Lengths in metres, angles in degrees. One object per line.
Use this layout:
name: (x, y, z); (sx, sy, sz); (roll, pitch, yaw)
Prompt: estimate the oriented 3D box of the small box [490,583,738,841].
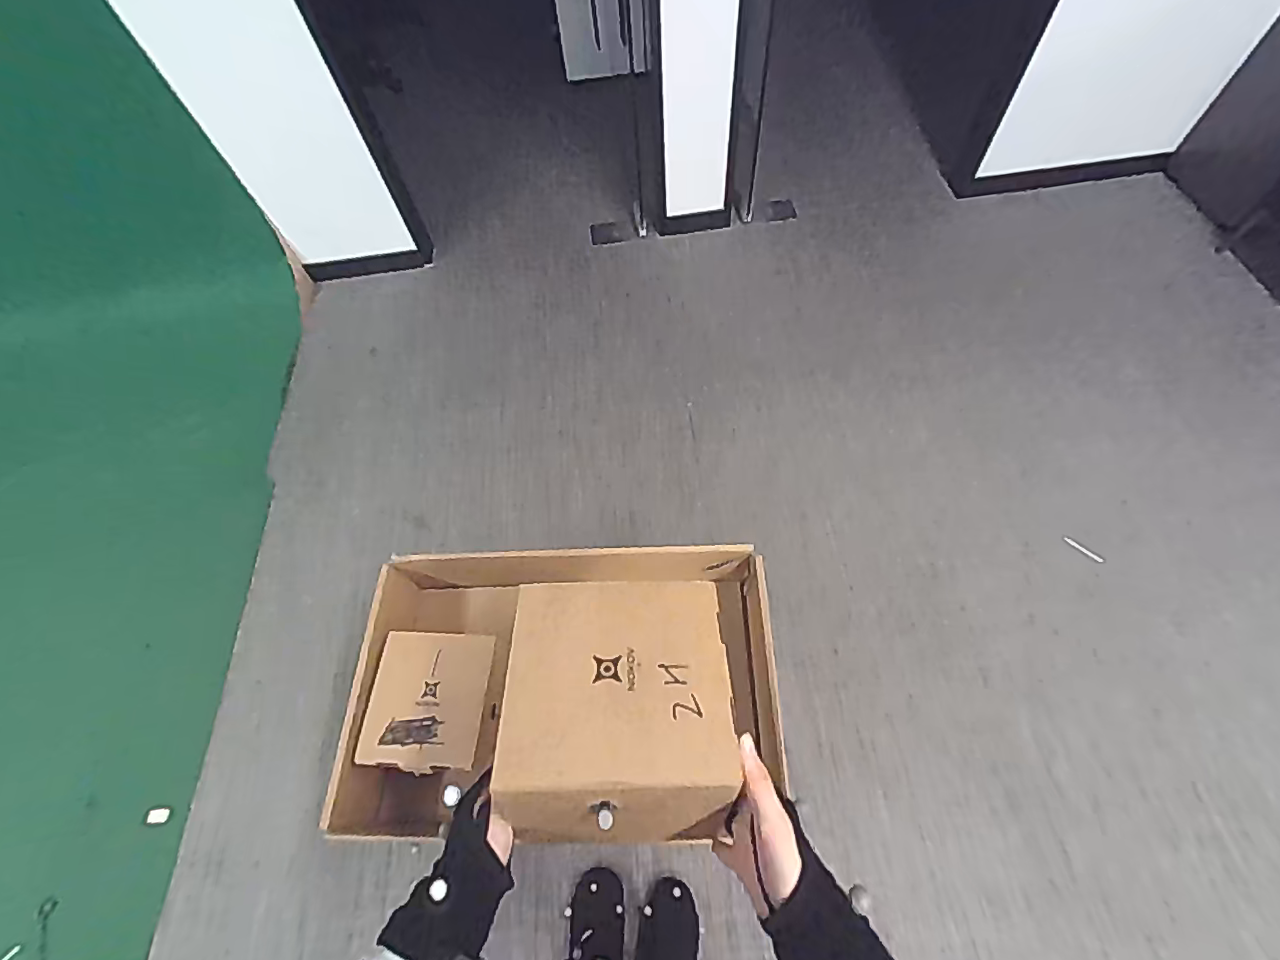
small box: (-0.019, 0.209, 0.484); (0.179, 0.176, 0.168); (0, 45, -2)
